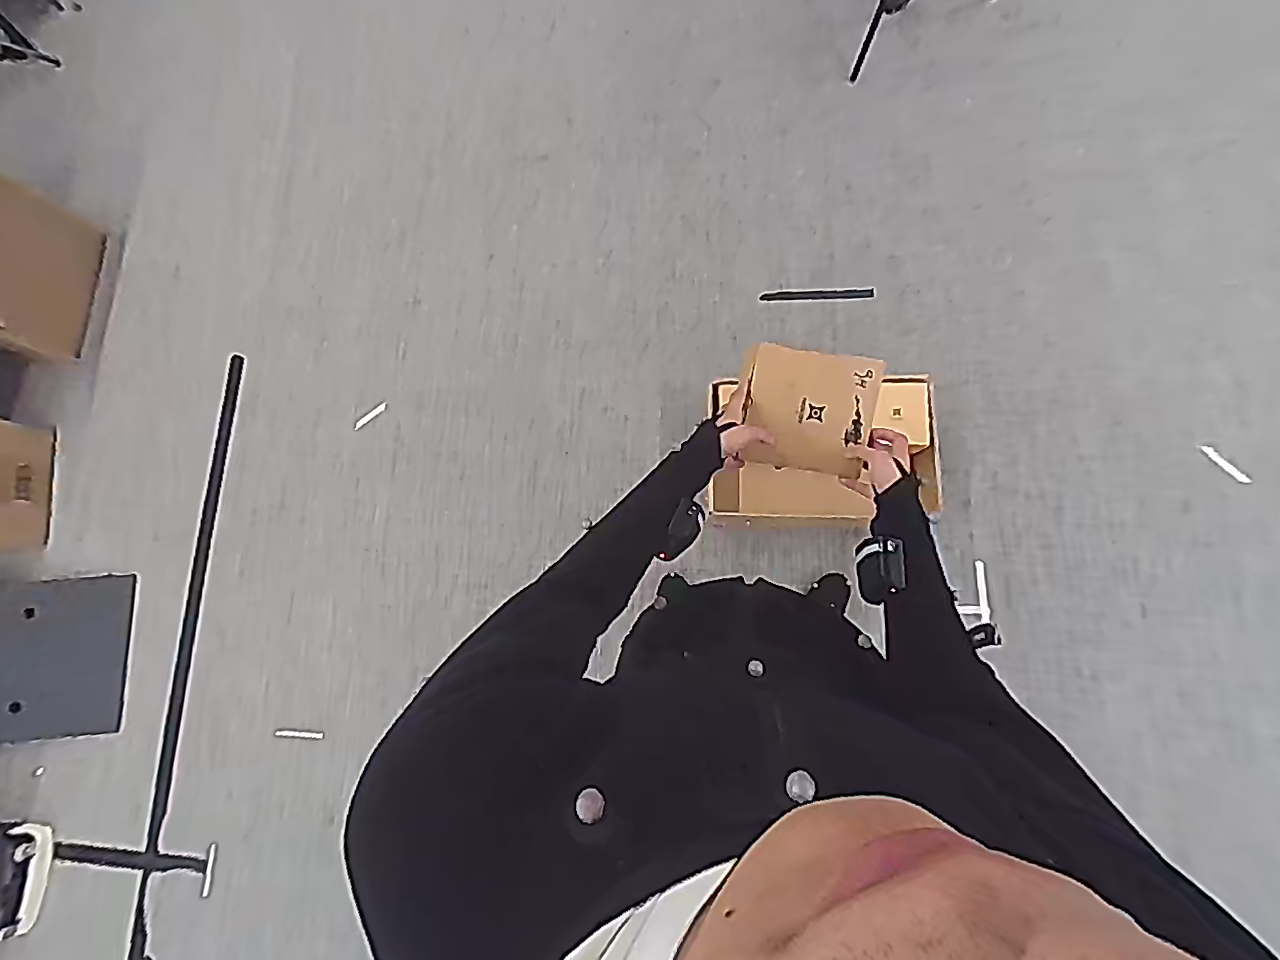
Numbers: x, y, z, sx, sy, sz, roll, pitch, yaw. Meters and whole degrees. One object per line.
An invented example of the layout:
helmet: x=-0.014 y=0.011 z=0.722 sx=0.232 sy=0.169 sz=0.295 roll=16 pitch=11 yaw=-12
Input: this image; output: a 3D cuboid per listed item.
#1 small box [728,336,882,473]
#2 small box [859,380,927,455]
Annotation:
small box: x=0.234 y=-0.115 z=0.818 sx=0.179 sy=0.176 sz=0.168 roll=10 pitch=101 yaw=4
small box: x=0.693 y=-0.174 z=1.534 sx=0.168 sy=0.176 sz=0.179 roll=1 pitch=83 yaw=6
